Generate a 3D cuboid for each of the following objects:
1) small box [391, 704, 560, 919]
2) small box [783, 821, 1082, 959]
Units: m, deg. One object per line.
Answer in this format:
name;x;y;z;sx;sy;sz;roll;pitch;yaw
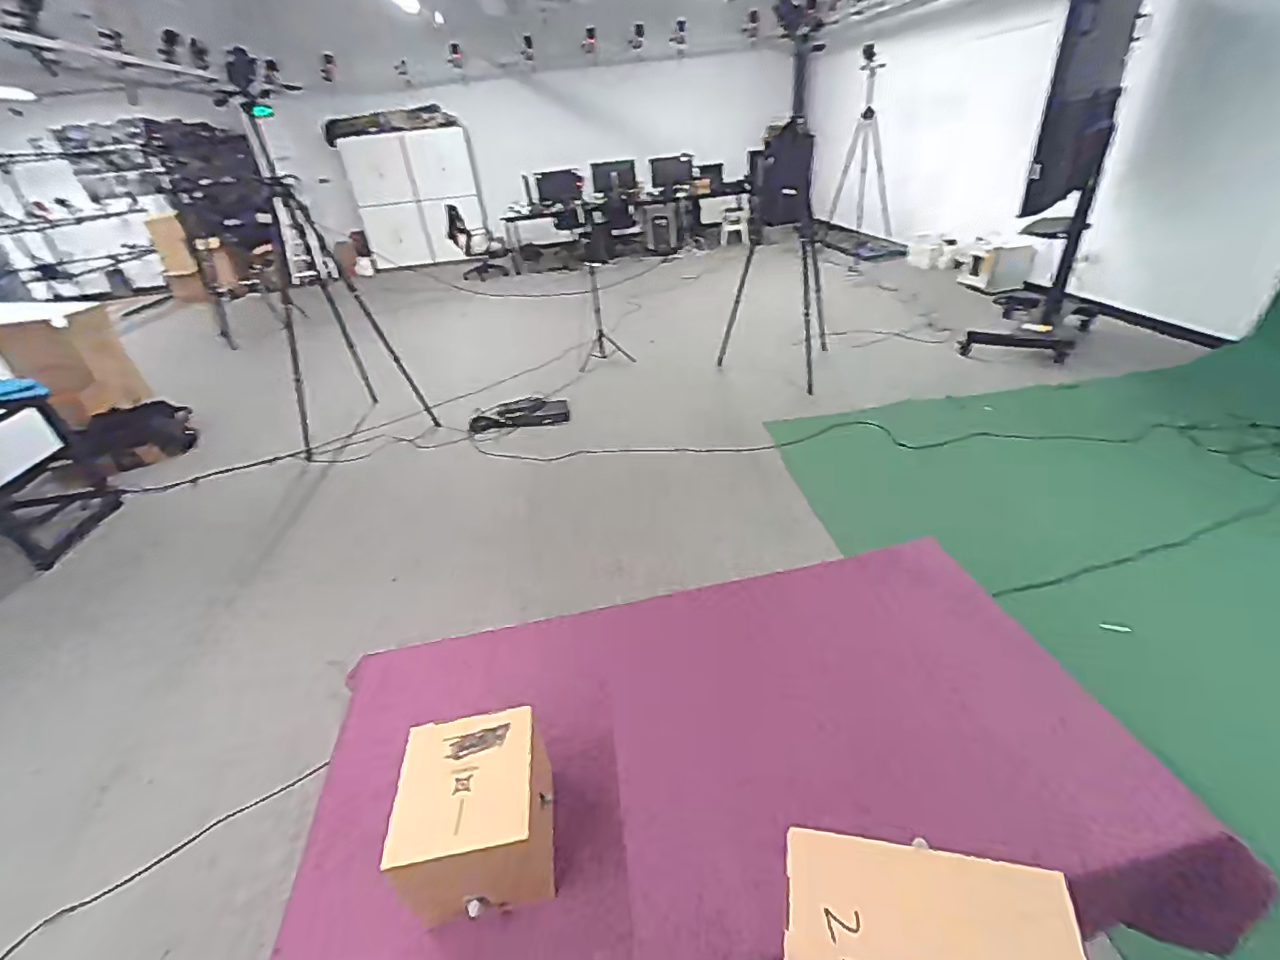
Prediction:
small box;-0.204;0.437;0.722;0.168;0.176;0.179;-10;34;-4
small box;0.194;0.368;0.383;0.179;0.176;0.168;0;46;17
